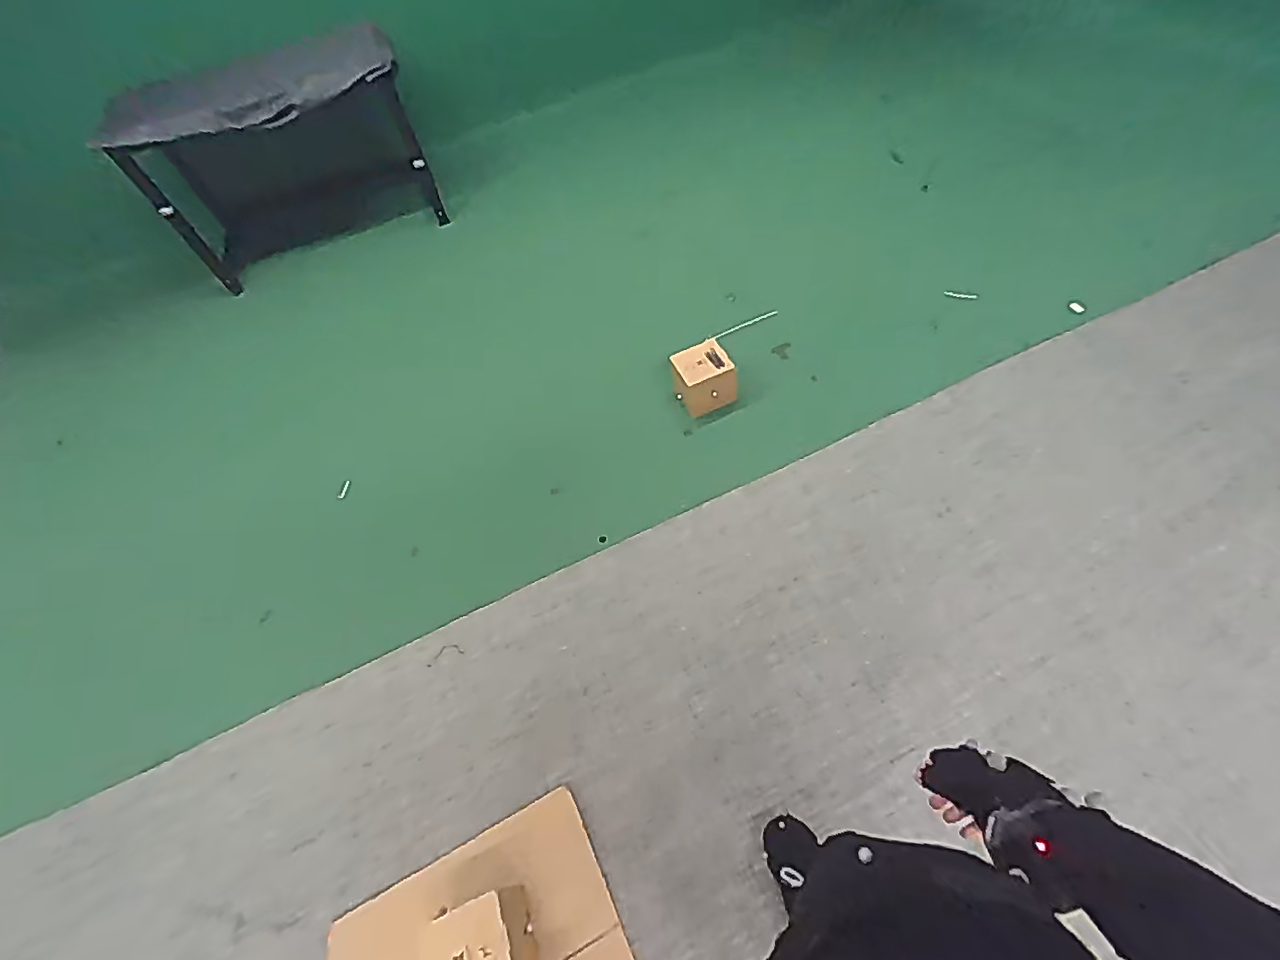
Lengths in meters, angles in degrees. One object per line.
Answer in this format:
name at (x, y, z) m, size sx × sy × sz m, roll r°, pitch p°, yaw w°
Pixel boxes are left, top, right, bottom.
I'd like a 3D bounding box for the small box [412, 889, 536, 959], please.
small box at (-0.325, 0.951, 1.077) m, size 0.179 × 0.176 × 0.168 m, roll -22°, pitch 56°, yaw -7°
